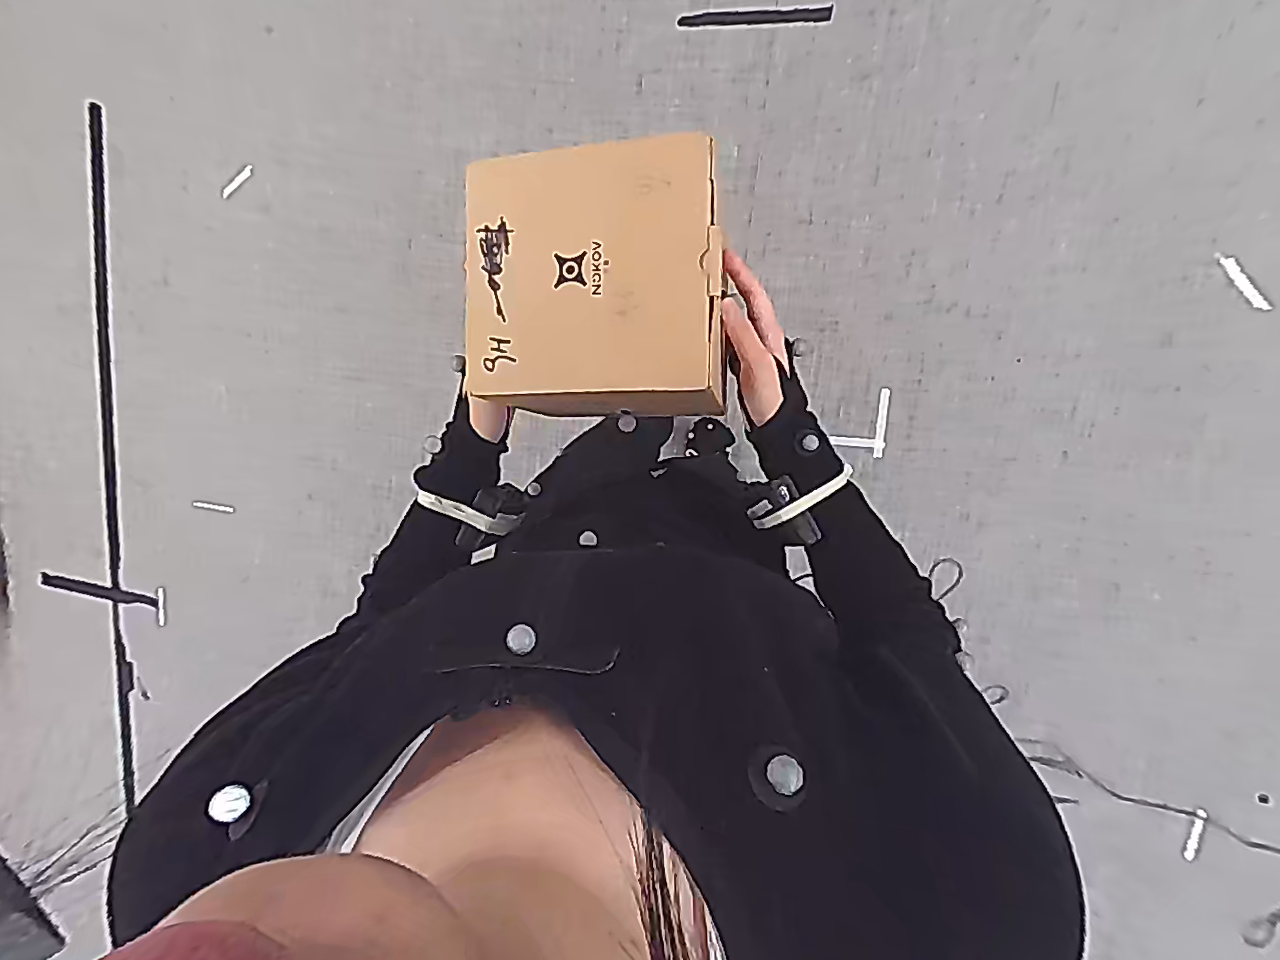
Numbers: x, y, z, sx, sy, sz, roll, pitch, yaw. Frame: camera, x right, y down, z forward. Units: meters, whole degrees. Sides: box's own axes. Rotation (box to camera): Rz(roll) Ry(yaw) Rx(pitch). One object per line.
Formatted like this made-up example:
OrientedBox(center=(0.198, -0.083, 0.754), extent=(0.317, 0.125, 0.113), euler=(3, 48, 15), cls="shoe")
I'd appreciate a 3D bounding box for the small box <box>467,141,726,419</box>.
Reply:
OrientedBox(center=(-0.020, -0.141, 0.442), extent=(0.179, 0.176, 0.168), euler=(2, 91, 11), cls="small box")
